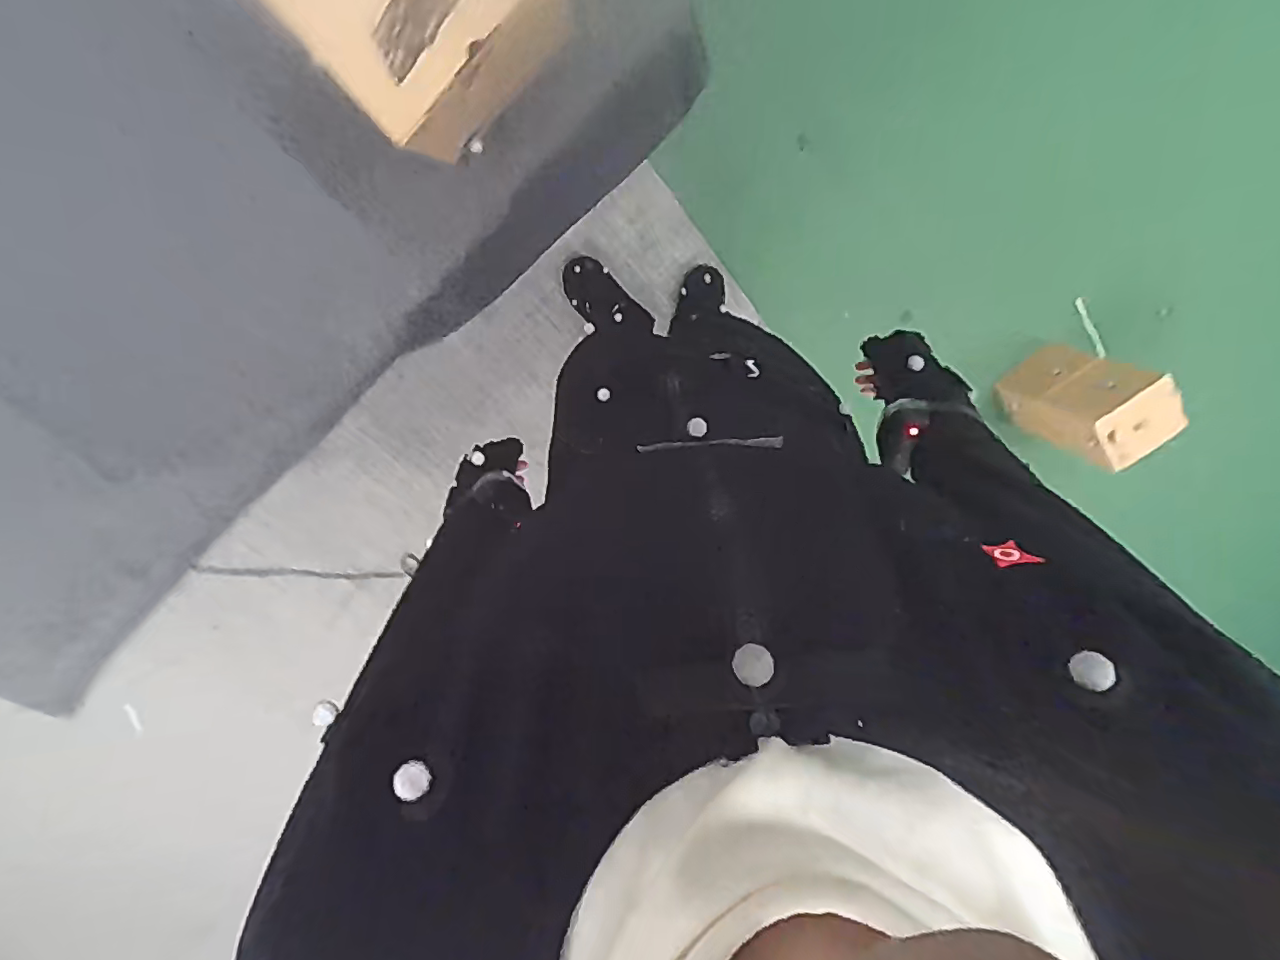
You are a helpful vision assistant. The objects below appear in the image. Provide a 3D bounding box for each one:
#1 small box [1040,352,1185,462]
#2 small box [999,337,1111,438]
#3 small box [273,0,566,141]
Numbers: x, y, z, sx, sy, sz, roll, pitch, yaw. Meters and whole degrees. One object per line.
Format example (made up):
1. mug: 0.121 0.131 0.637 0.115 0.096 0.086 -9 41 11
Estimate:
1. small box: 1.110 -0.181 1.280 0.179 0.176 0.168 -39 114 12
2. small box: 1.093 -0.247 1.408 0.179 0.176 0.168 -38 113 13
3. small box: -0.169 -0.382 0.396 0.168 0.176 0.179 -39 113 14
